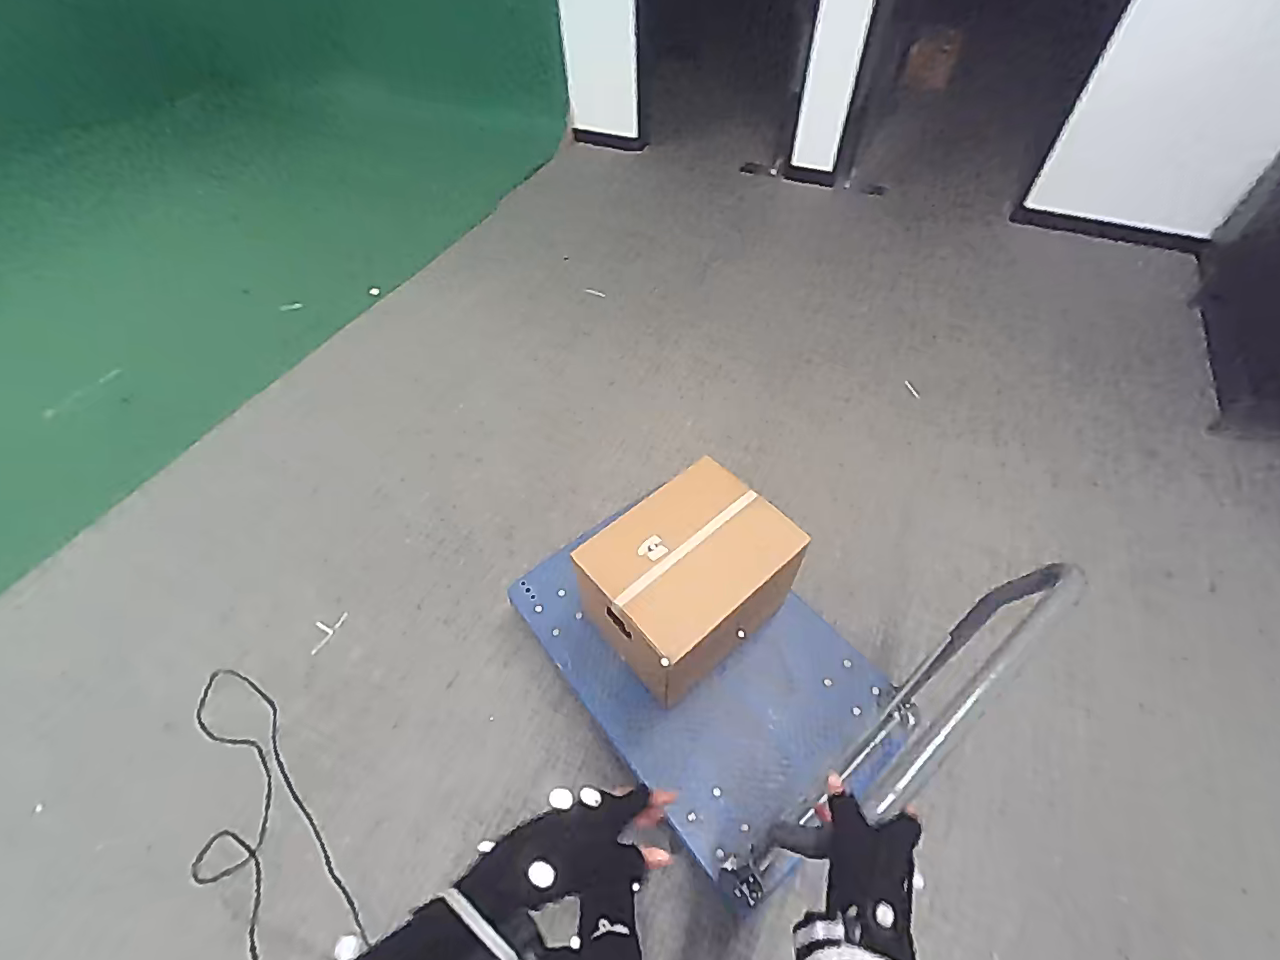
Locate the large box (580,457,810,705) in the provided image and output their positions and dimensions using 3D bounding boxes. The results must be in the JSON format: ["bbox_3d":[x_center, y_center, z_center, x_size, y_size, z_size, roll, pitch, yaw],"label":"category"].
[{"bbox_3d":[0.125,0.229,1.249,0.408,0.320,0.320,-37,59,-22],"label":"large box"}]
